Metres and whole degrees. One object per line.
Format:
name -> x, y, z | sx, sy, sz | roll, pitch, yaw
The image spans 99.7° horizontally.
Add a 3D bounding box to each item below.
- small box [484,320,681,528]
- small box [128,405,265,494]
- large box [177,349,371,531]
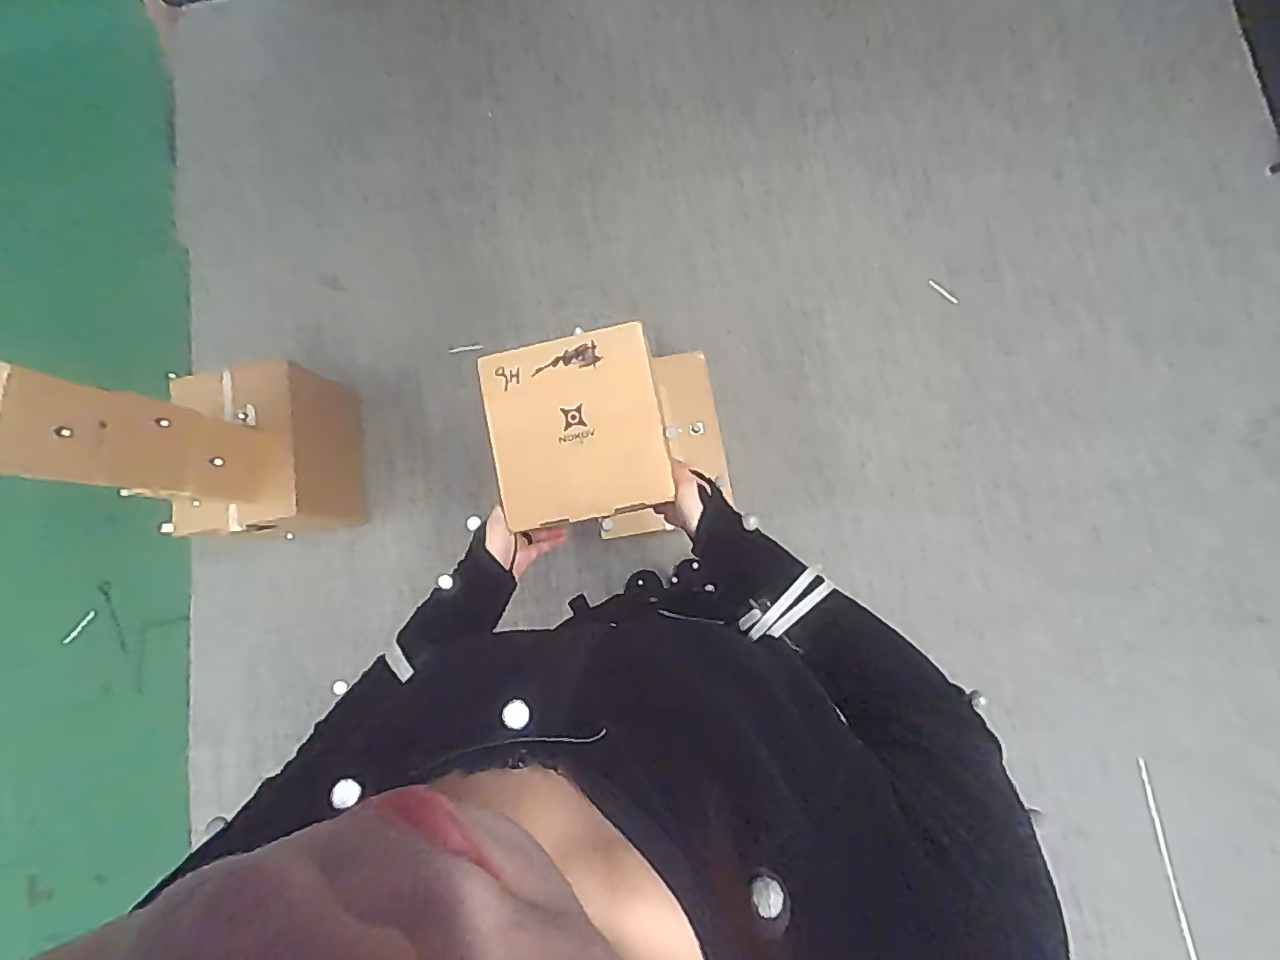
small box -> -0.050, -0.053, 0.596 | 0.168, 0.176, 0.179 | -12, 88, 5
small box -> -0.991, -0.066, 1.224 | 0.168, 0.176, 0.179 | 2, 84, 5
large box -> -0.975, -0.087, 1.471 | 0.320, 0.320, 0.408 | -9, 81, 3
